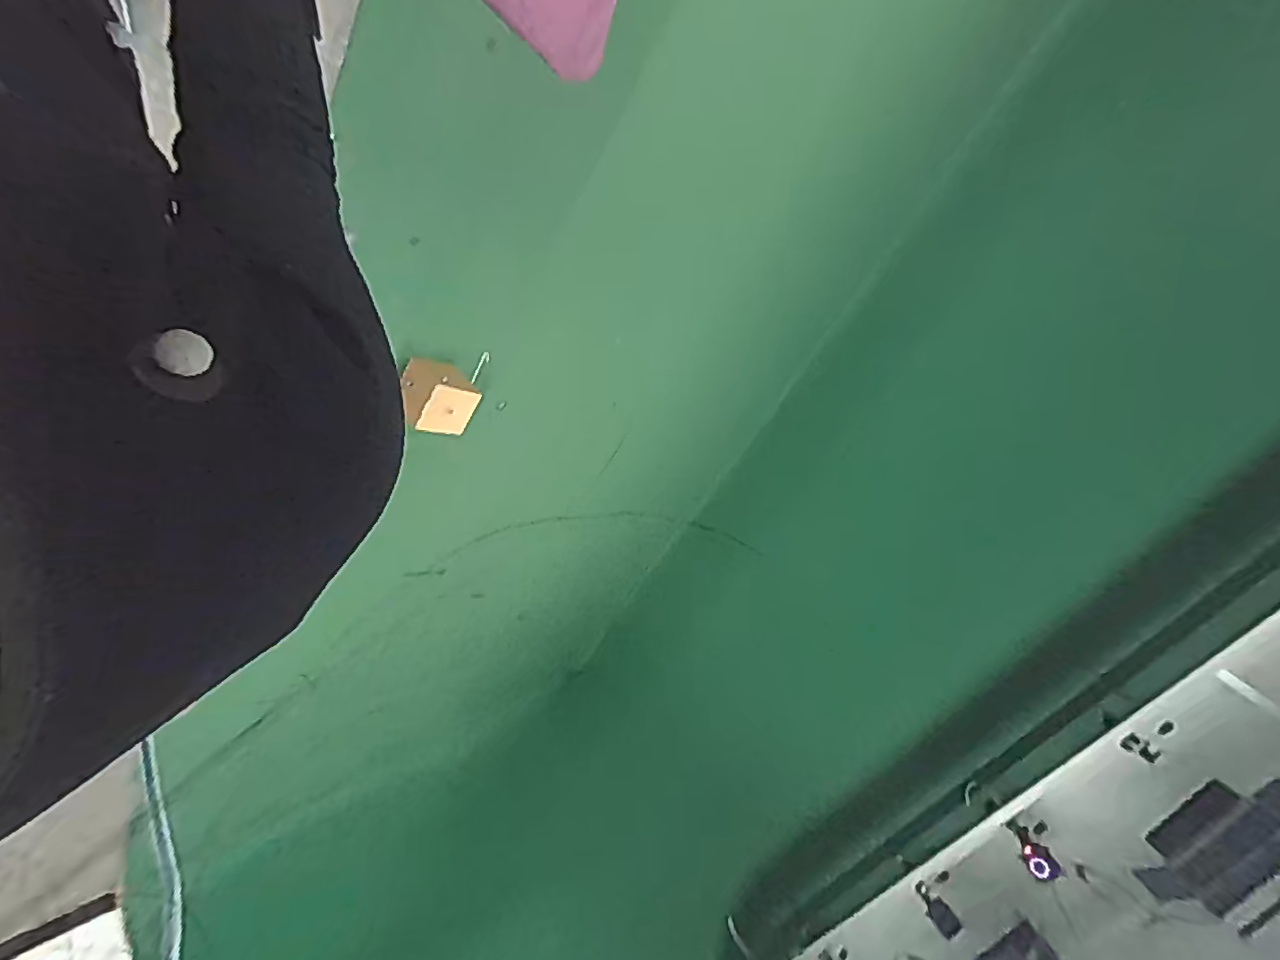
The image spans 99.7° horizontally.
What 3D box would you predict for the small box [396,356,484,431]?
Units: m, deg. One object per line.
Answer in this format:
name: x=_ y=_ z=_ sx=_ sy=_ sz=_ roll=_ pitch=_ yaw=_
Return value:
small box: x=-0.650 y=-0.279 z=1.752 sx=0.179 sy=0.176 sz=0.168 roll=4 pitch=126 yaw=-56
